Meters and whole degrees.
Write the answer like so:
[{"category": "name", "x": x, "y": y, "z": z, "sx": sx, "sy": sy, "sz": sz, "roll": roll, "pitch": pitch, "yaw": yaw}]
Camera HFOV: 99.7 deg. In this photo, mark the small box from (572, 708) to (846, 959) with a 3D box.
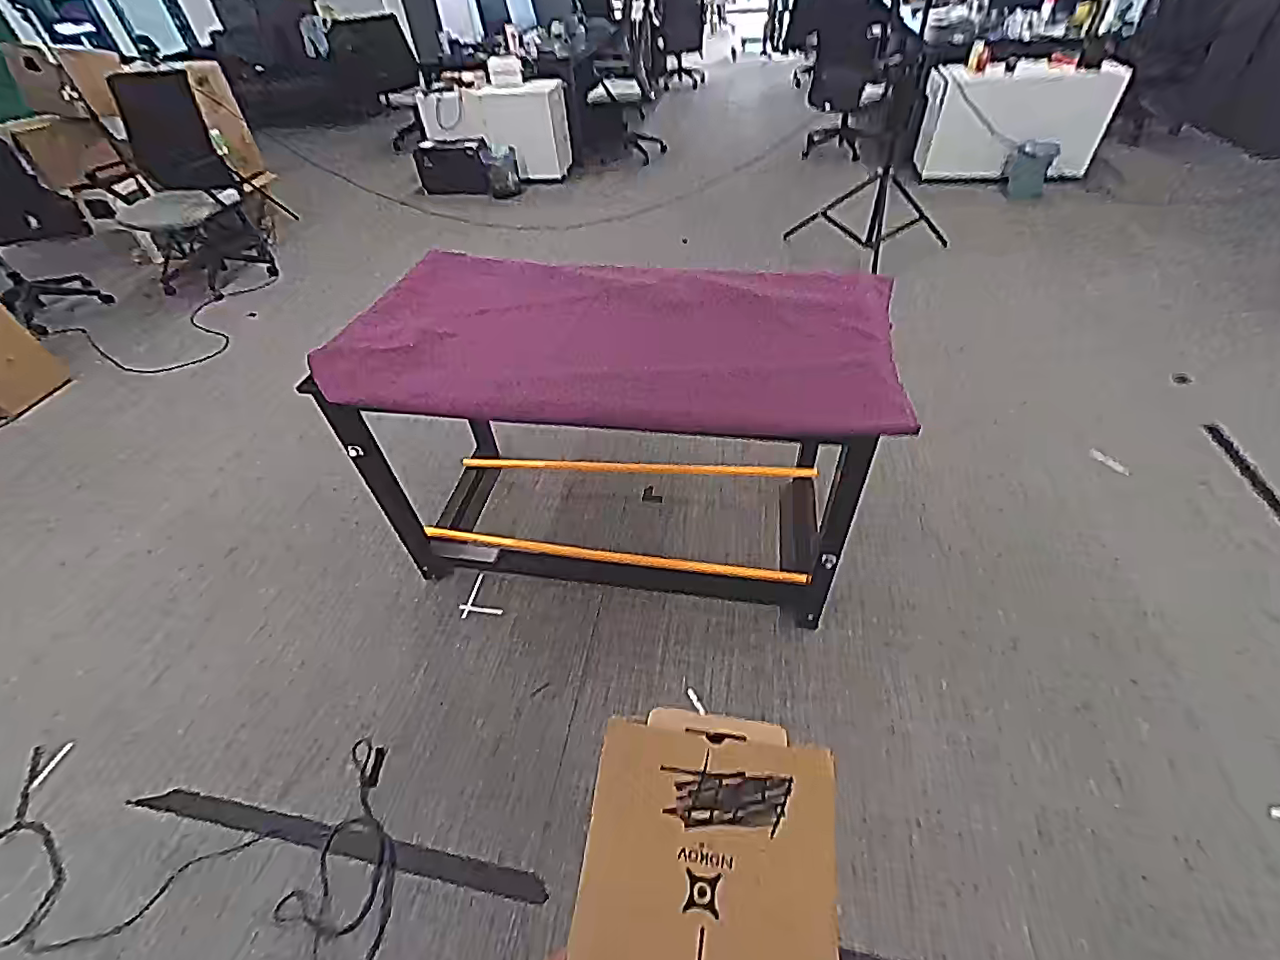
[{"category": "small box", "x": 0.057, "y": 0.296, "z": 0.418, "sx": 0.168, "sy": 0.176, "sz": 0.179, "roll": 3, "pitch": 57, "yaw": 11}]
